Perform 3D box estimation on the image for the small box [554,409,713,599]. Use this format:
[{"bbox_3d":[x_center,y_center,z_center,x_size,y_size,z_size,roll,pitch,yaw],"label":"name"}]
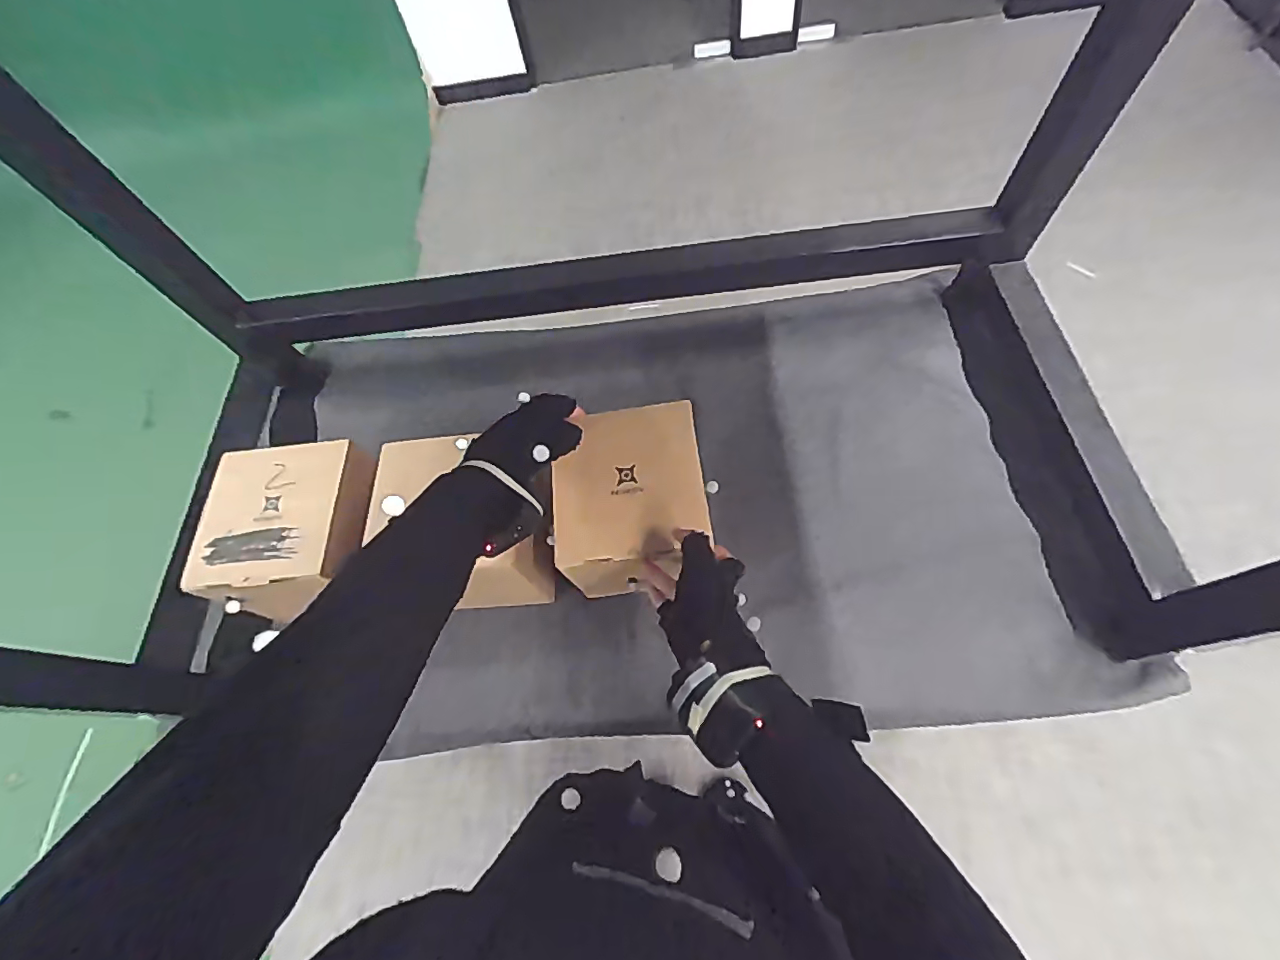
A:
[{"bbox_3d":[-0.006,0.037,0.672,0.168,0.176,0.179,-8,66,3],"label":"small box"}]
